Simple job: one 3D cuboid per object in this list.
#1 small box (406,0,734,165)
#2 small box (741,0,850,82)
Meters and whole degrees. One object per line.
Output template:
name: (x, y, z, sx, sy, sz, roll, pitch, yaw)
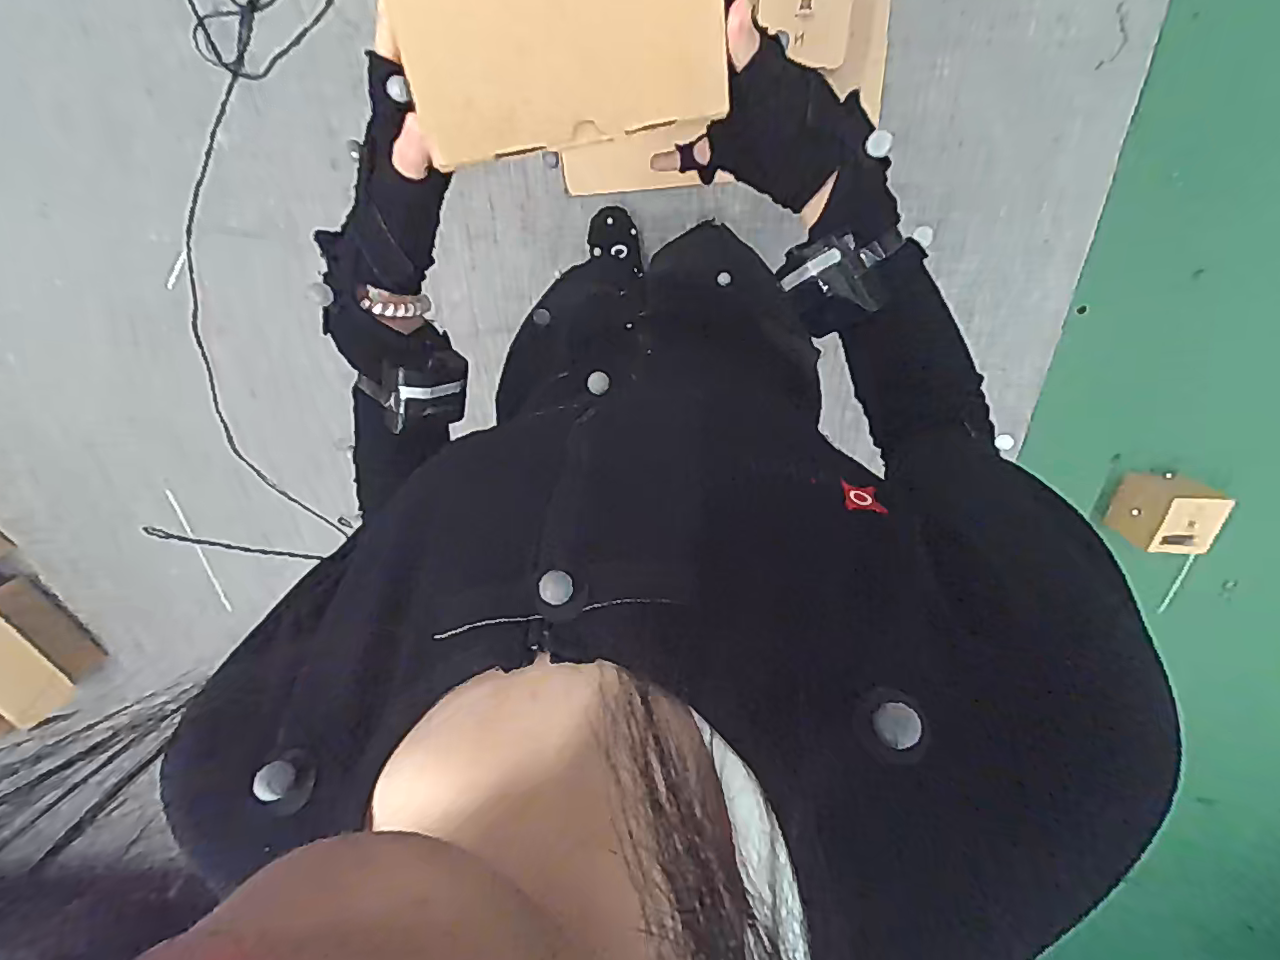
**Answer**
small box: (-0.056, -0.302, 0.319, 0.168, 0.176, 0.179, -16, 126, -7)
small box: (0.289, -0.877, 1.023, 0.168, 0.176, 0.179, 0, 119, 1)
